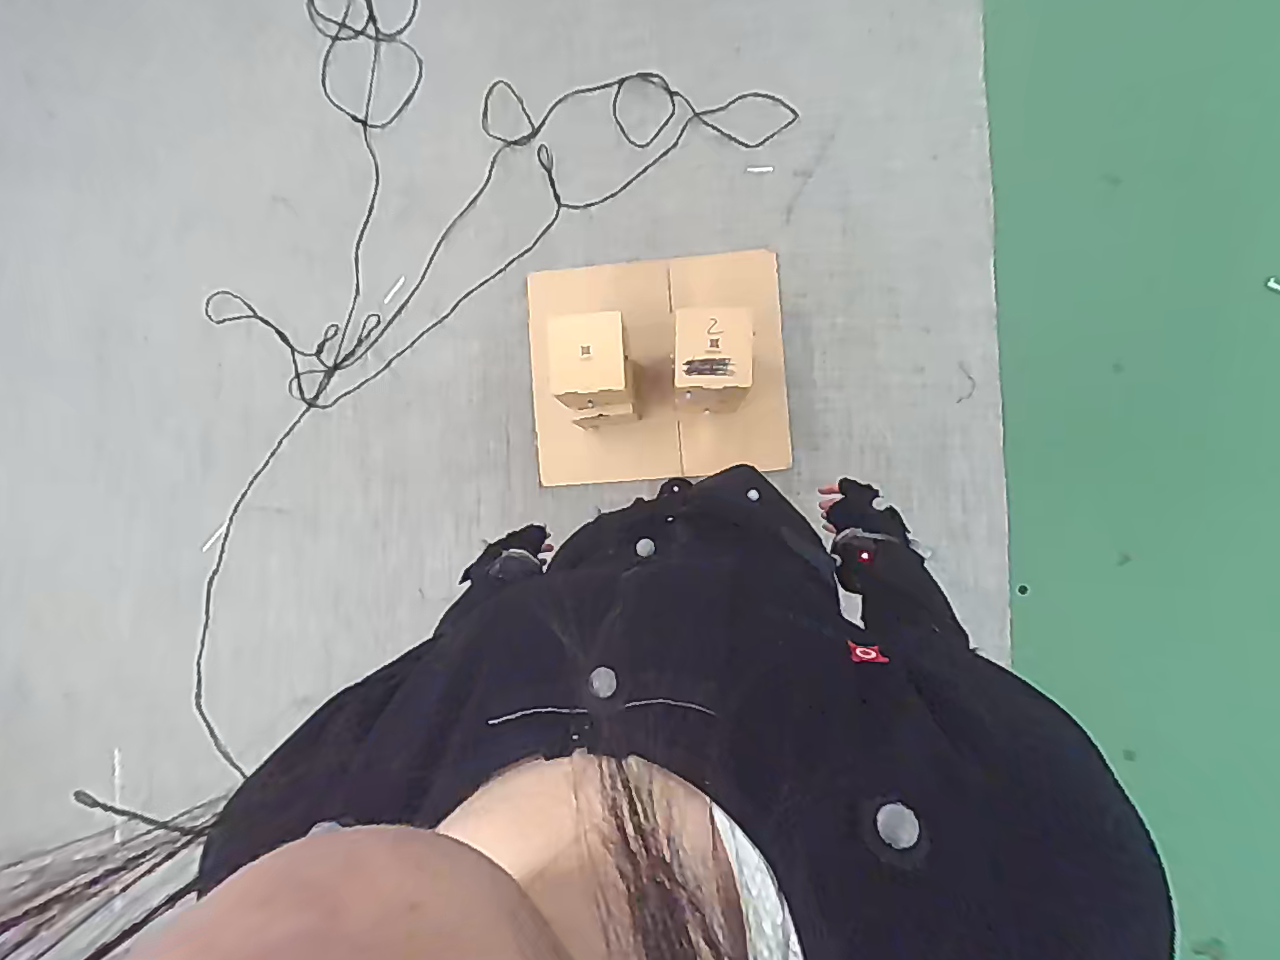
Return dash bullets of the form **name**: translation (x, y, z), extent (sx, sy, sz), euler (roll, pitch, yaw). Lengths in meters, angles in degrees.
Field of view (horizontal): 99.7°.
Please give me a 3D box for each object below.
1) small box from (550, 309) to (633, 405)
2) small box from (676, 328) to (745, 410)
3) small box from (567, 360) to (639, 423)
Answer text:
- **small box**: translation (-0.108, -0.278, 1.252), extent (0.168, 0.176, 0.179), euler (-4, 88, 5)
- **small box**: translation (0.178, -0.282, 1.394), extent (0.168, 0.176, 0.179), euler (1, 89, 6)
- **small box**: translation (-0.097, -0.246, 1.414), extent (0.168, 0.176, 0.179), euler (-6, 88, 5)
